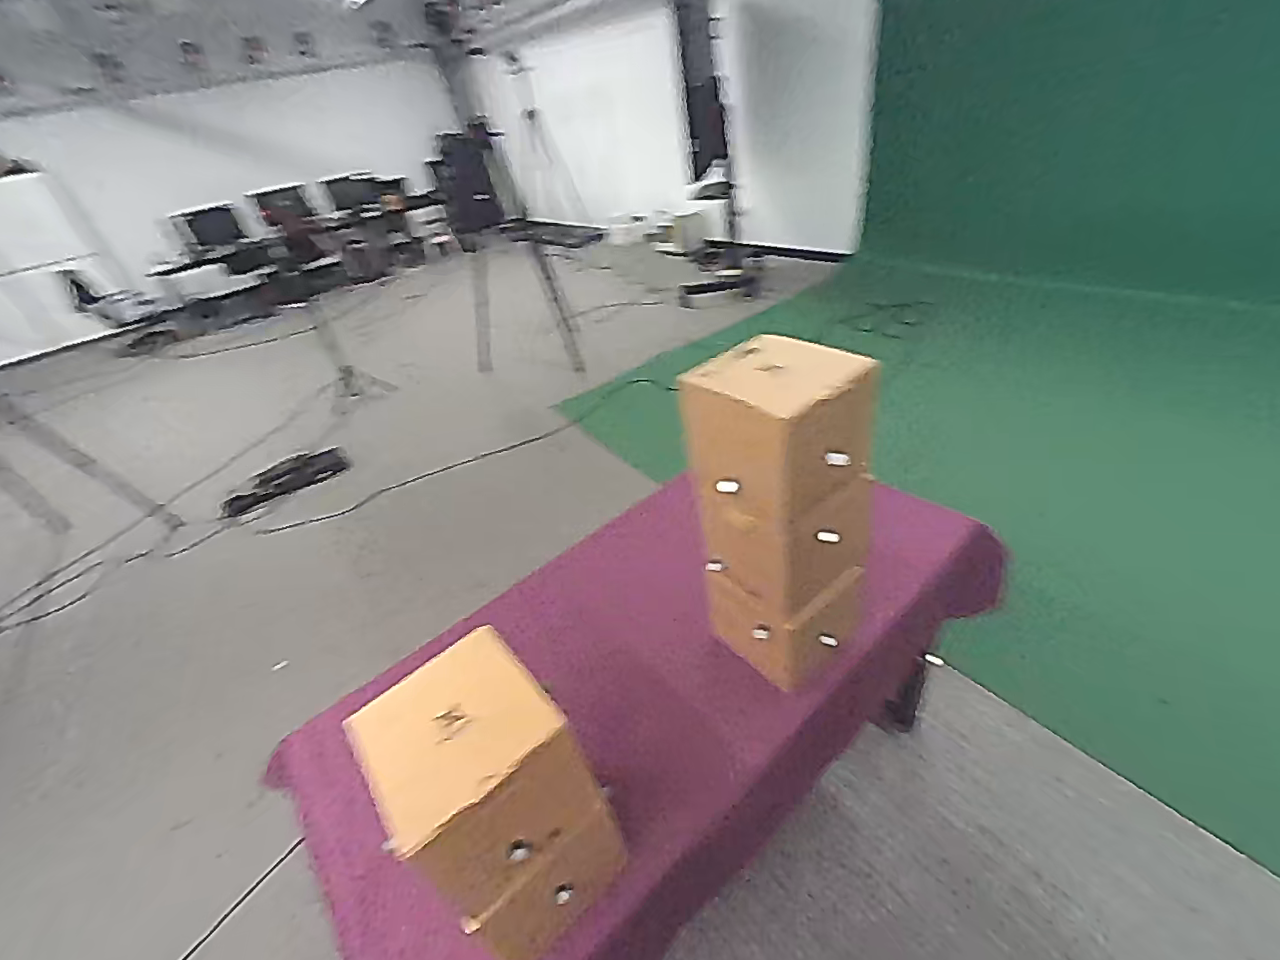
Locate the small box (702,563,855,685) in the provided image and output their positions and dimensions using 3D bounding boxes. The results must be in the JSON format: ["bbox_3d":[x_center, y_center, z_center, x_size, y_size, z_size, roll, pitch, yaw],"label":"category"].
[{"bbox_3d":[0.226,0.206,0.892,0.168,0.176,0.179,-30,39,-25],"label":"small box"}]

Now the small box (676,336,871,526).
[{"bbox_3d":[0.172,-0.064,0.710,0.168,0.176,0.179,-30,41,-25],"label":"small box"}]

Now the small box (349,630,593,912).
[{"bbox_3d":[-0.175,0.306,0.582,0.168,0.176,0.179,-33,41,-27],"label":"small box"}]

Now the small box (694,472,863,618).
[{"bbox_3d":[0.204,0.070,0.801,0.179,0.176,0.168,-30,40,-25],"label":"small box"}]
